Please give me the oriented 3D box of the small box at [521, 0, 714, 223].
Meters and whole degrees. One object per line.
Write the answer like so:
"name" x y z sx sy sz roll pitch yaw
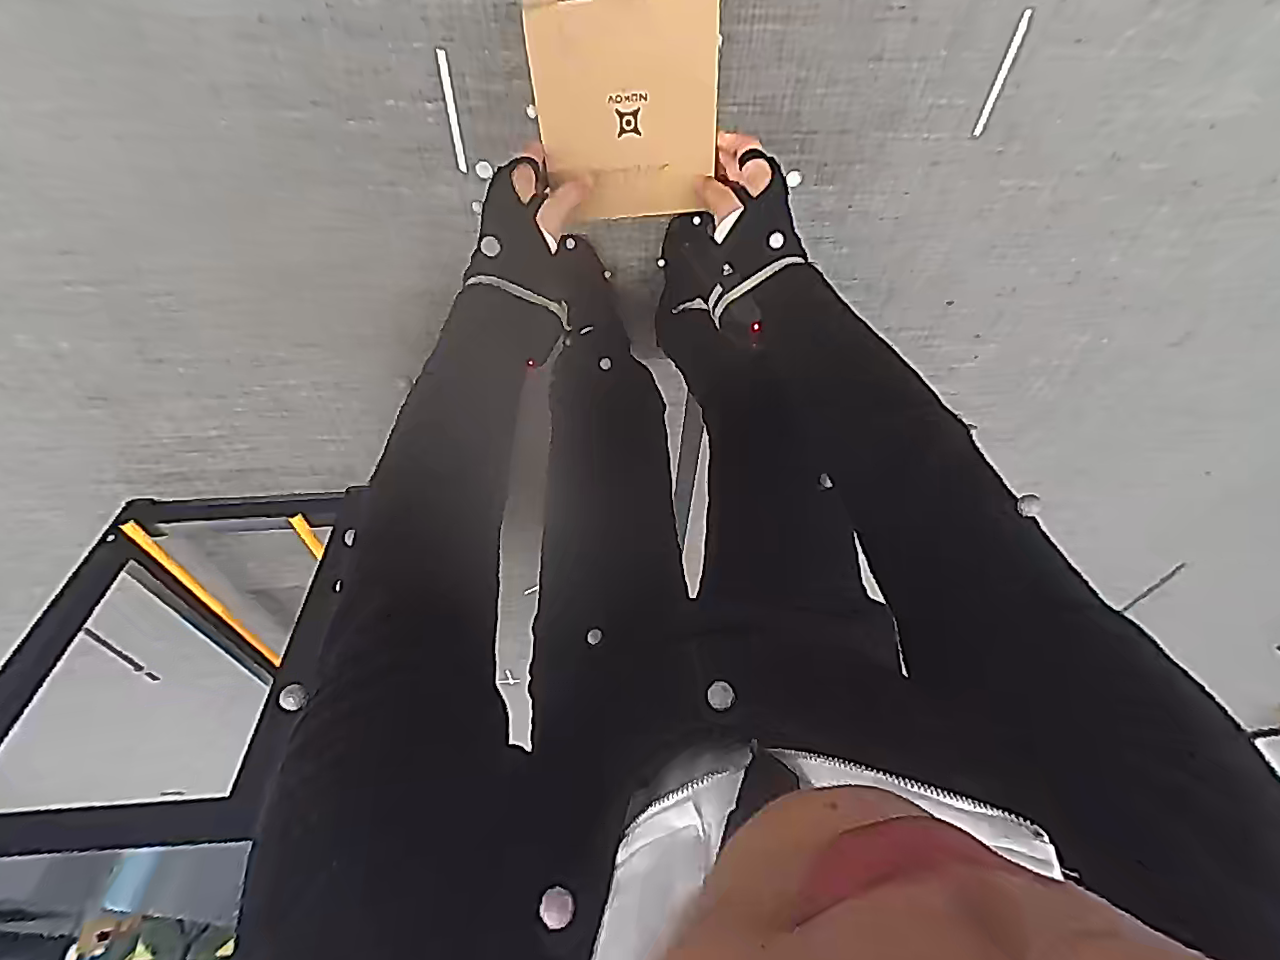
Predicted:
"small box" -0.019 -0.391 0.560 0.168 0.176 0.179 -5 134 1
